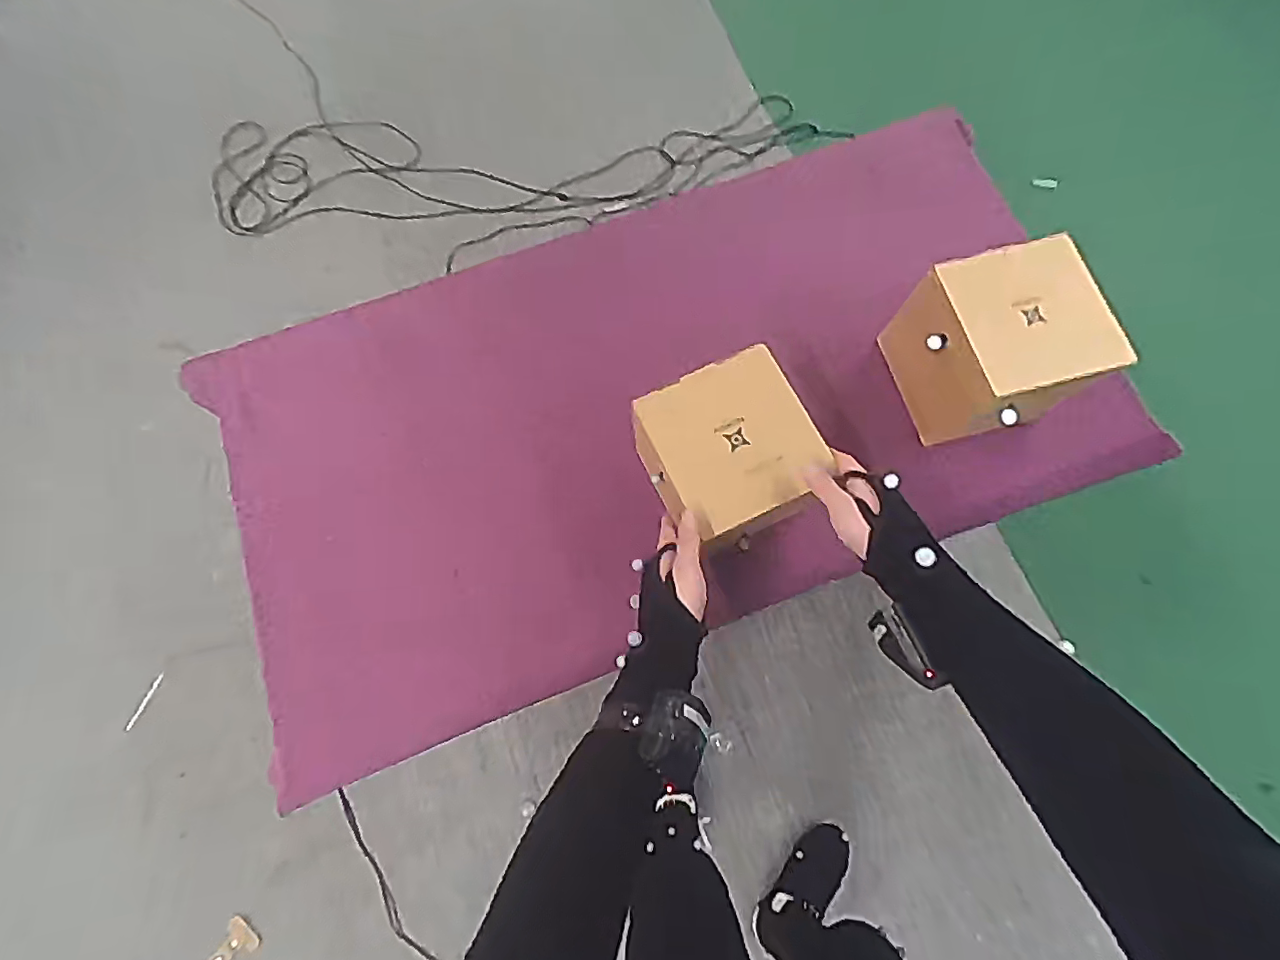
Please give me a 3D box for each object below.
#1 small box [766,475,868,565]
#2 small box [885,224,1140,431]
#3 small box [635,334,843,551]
[{"bbox_3d":[0.424,0.095,1.353,0.168,0.176,0.179,-26,75,-6],"label":"small box"},{"bbox_3d":[0.440,-0.174,0.675,0.168,0.176,0.179,-14,73,-2],"label":"small box"},{"bbox_3d":[0.102,-0.034,0.643,0.168,0.176,0.179,-24,75,-4],"label":"small box"}]
